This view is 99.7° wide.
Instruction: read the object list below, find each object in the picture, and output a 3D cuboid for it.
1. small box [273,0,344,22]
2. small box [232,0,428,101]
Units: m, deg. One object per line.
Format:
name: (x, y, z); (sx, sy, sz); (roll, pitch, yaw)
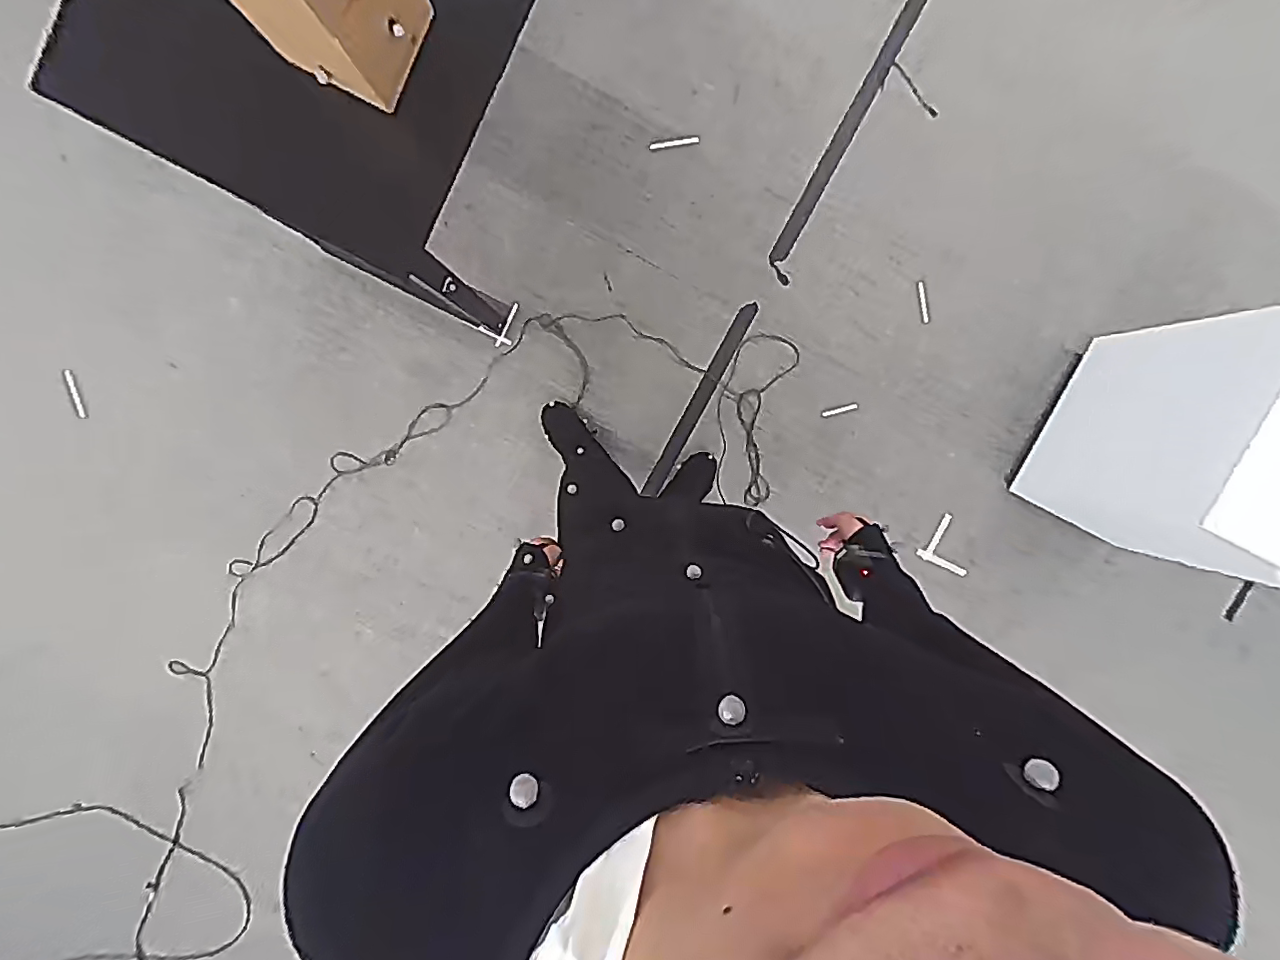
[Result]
small box: (-0.411, -0.640, 0.559); (0.179, 0.176, 0.168); (26, 95, -4)
small box: (-0.414, -0.657, 0.723); (0.179, 0.176, 0.168); (25, 95, -5)
